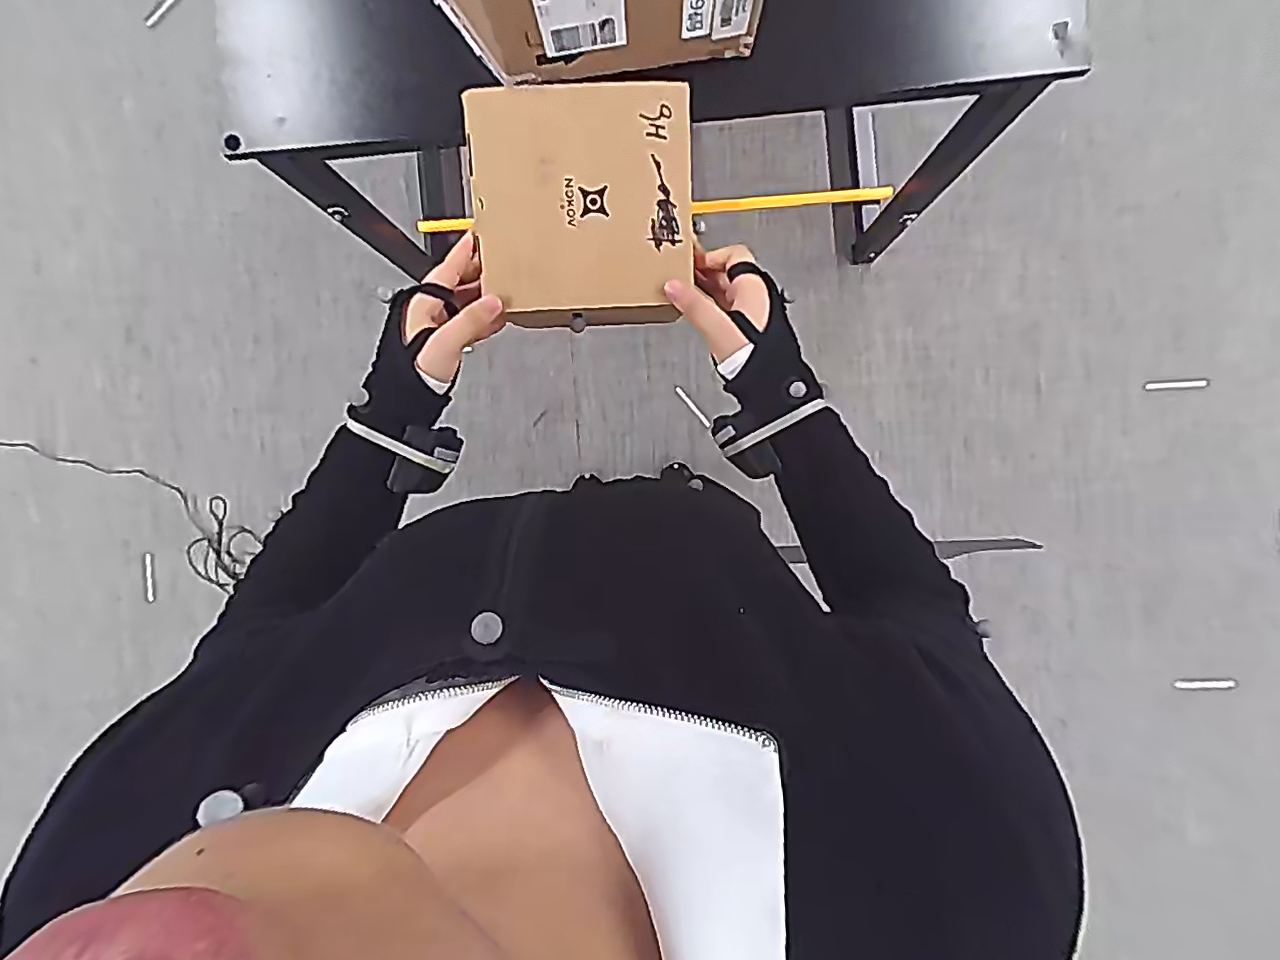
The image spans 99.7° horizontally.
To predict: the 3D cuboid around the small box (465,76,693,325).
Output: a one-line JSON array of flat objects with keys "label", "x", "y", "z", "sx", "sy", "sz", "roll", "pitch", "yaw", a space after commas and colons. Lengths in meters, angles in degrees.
[{"label": "small box", "x": -0.045, "y": -0.238, "z": 0.502, "sx": 0.179, "sy": 0.176, "sz": 0.168, "roll": -2, "pitch": 101, "yaw": -1}]
